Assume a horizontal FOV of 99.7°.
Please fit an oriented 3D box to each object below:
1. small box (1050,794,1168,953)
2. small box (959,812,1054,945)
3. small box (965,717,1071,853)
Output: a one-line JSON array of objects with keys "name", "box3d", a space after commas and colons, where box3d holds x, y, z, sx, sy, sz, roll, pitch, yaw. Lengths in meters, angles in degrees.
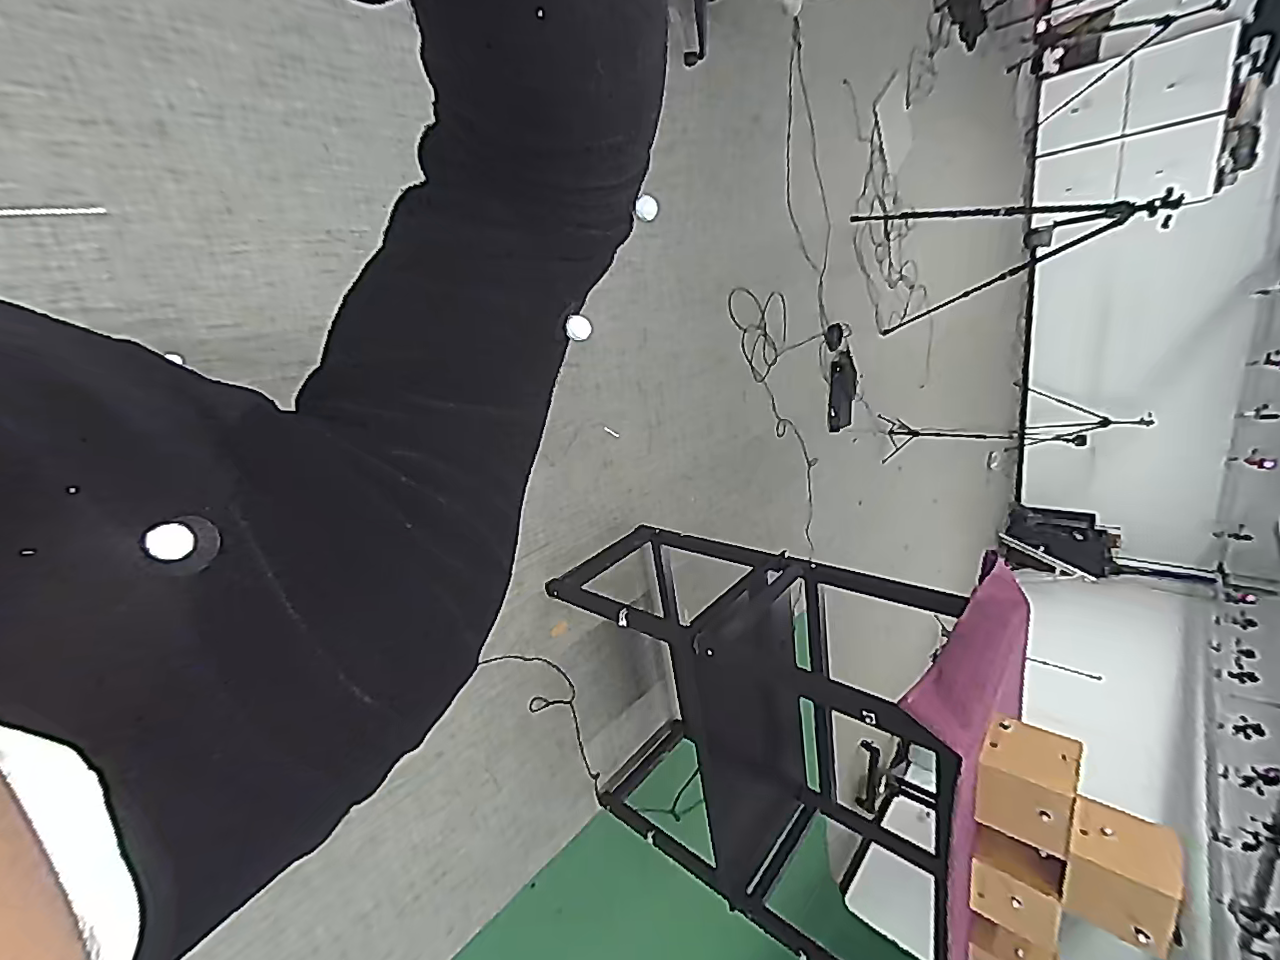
[{"name": "small box", "box3d": [0.978, 0.812, 1.136, 0.168, 0.176, 0.179, -26, 115, -44]}, {"name": "small box", "box3d": [0.869, 0.920, 1.281, 0.179, 0.176, 0.168, -27, 115, -44]}, {"name": "small box", "box3d": [0.830, 0.655, 1.192, 0.168, 0.176, 0.179, -27, 117, -42]}]
